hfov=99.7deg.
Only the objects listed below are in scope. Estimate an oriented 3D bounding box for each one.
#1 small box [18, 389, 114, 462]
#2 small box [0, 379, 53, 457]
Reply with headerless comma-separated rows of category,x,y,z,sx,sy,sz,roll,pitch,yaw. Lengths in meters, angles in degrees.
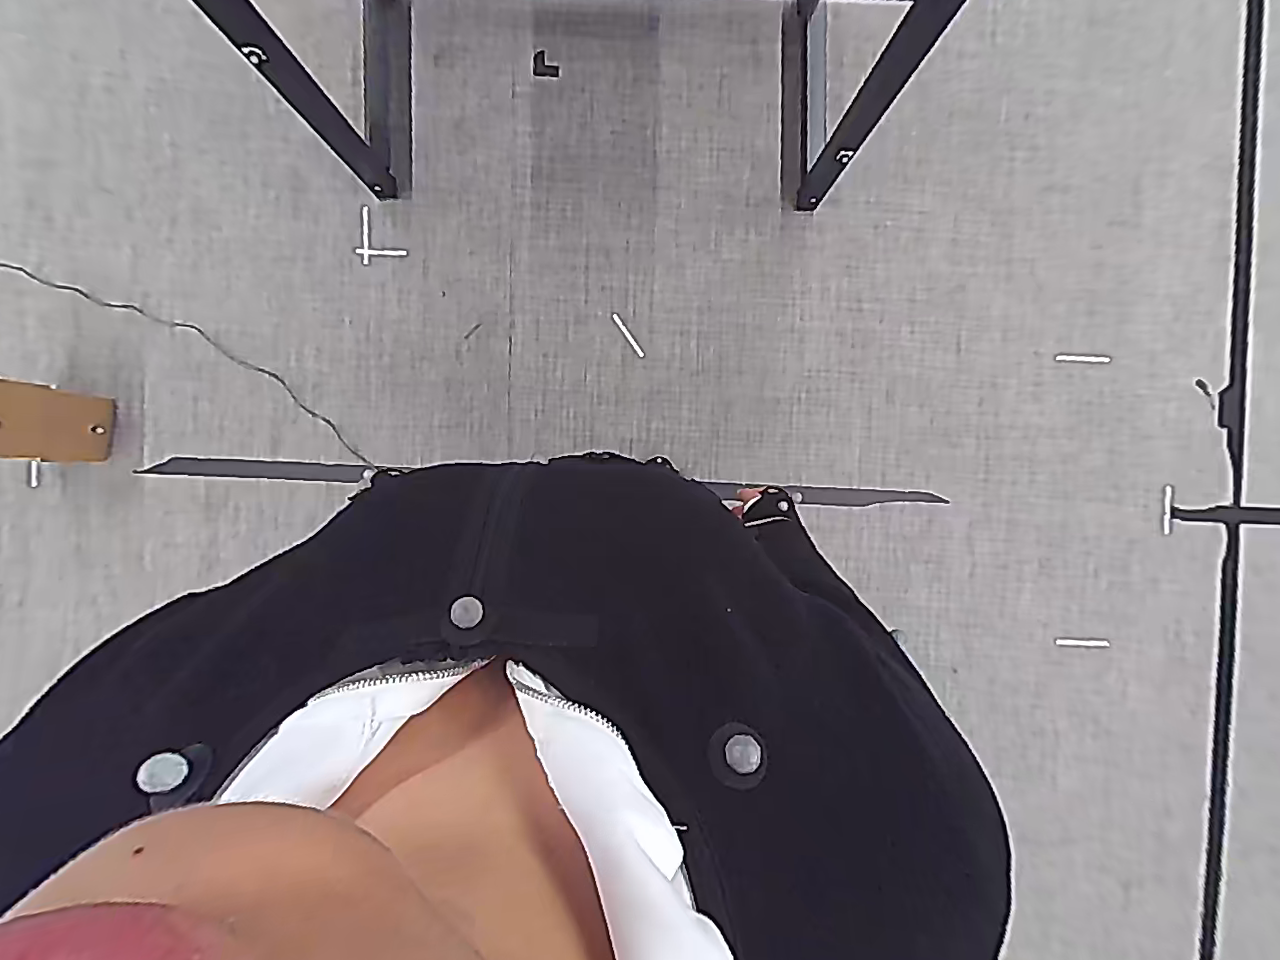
small box,-1.503,-0.143,1.375,0.168,0.176,0.179,8,91,-2
small box,-1.482,-0.142,1.210,0.168,0.176,0.179,3,91,-2
